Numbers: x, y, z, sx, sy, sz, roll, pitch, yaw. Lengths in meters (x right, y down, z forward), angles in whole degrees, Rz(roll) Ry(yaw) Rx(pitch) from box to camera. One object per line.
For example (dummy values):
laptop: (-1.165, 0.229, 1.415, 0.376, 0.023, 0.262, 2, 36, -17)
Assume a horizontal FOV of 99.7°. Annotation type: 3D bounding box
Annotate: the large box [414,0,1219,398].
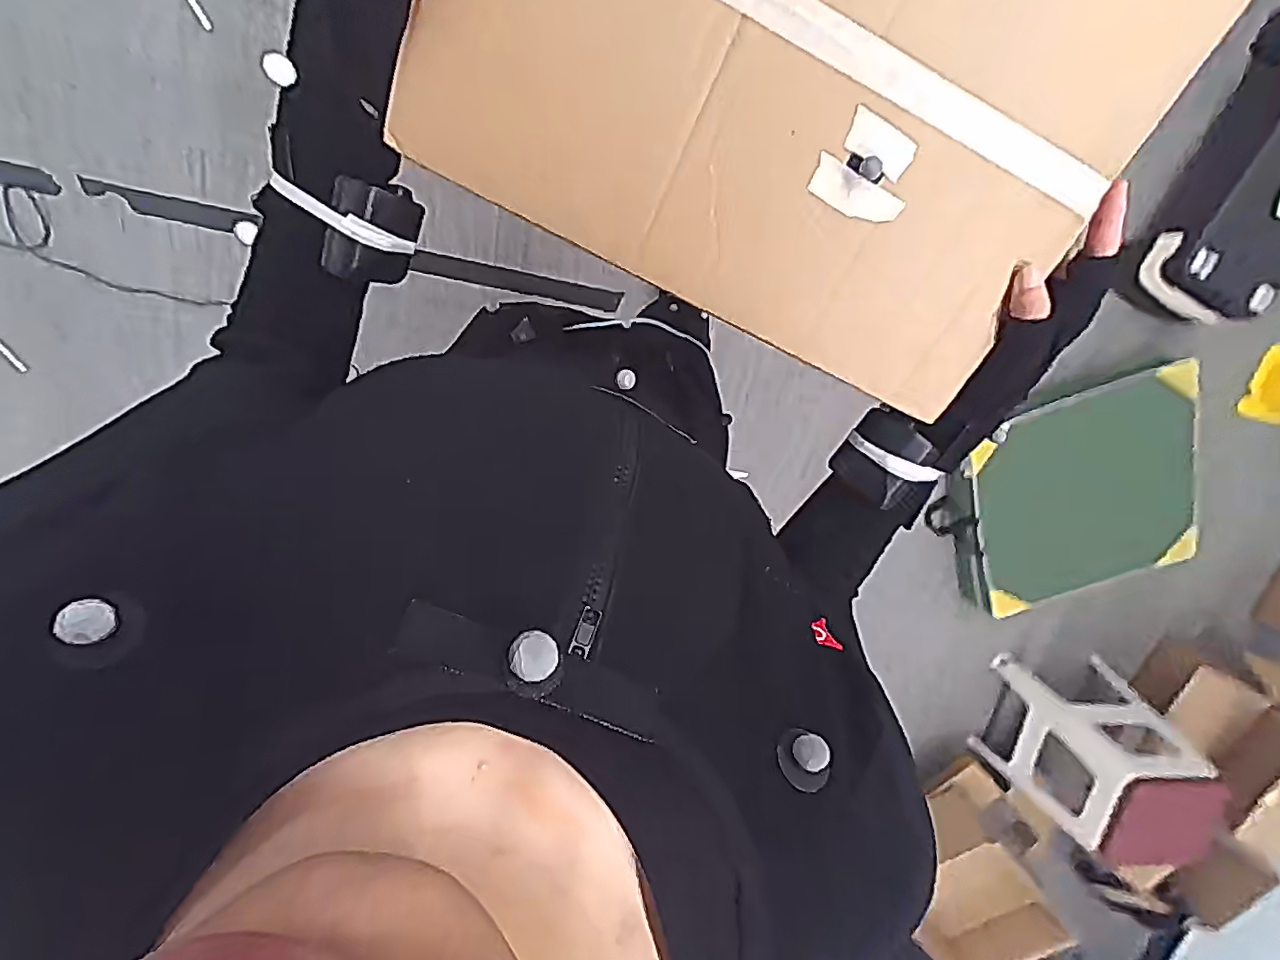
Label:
large box: (0.100, -0.321, 0.445, 0.408, 0.320, 0.320, 24, 114, -9)
